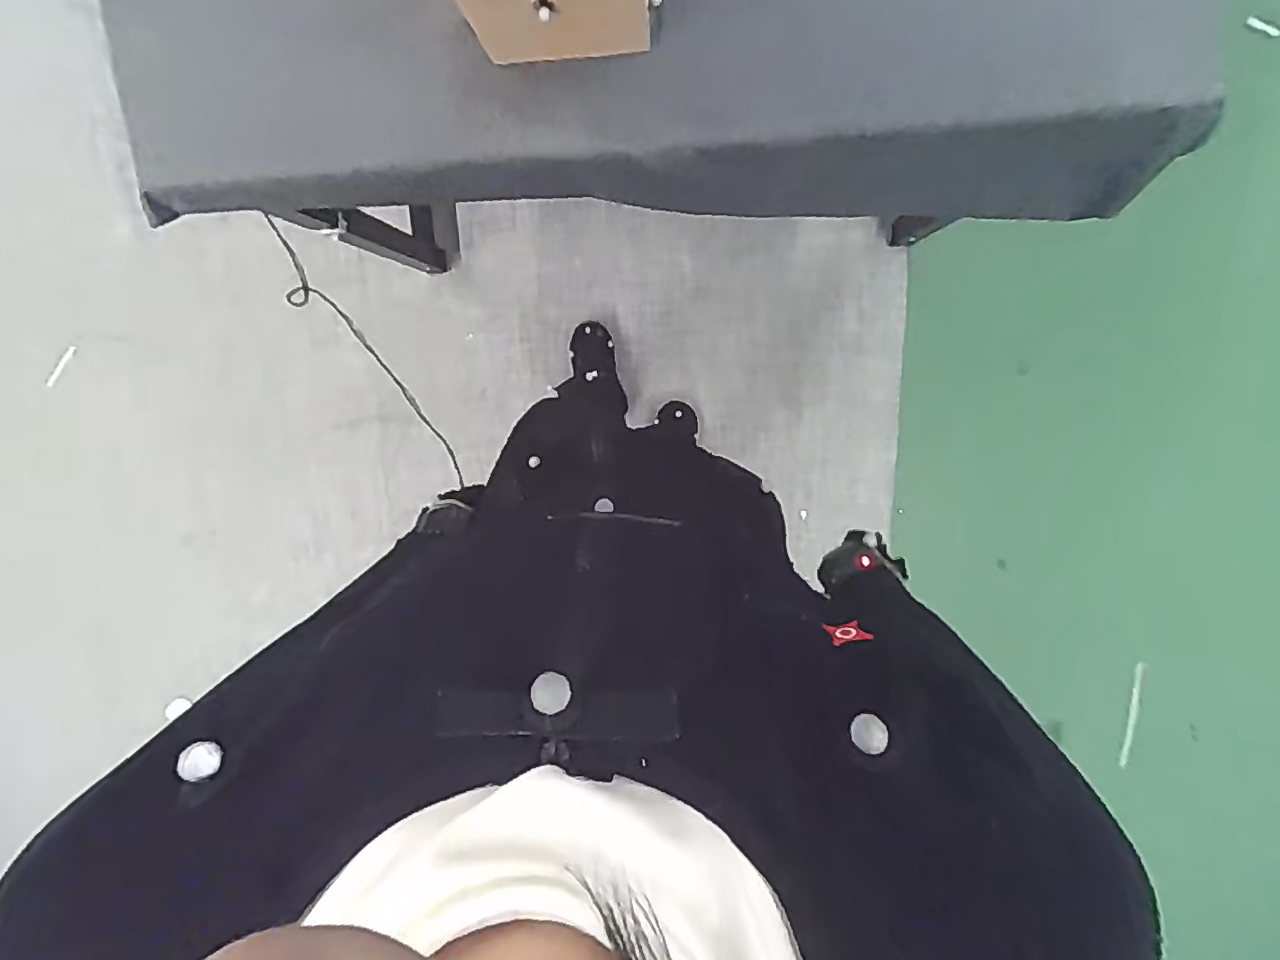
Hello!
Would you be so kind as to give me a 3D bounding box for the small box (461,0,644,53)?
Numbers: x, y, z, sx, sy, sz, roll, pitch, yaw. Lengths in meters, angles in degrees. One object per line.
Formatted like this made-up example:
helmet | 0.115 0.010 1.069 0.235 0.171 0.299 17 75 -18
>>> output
small box | -0.087 -0.534 0.497 0.179 0.176 0.168 -1 101 5
